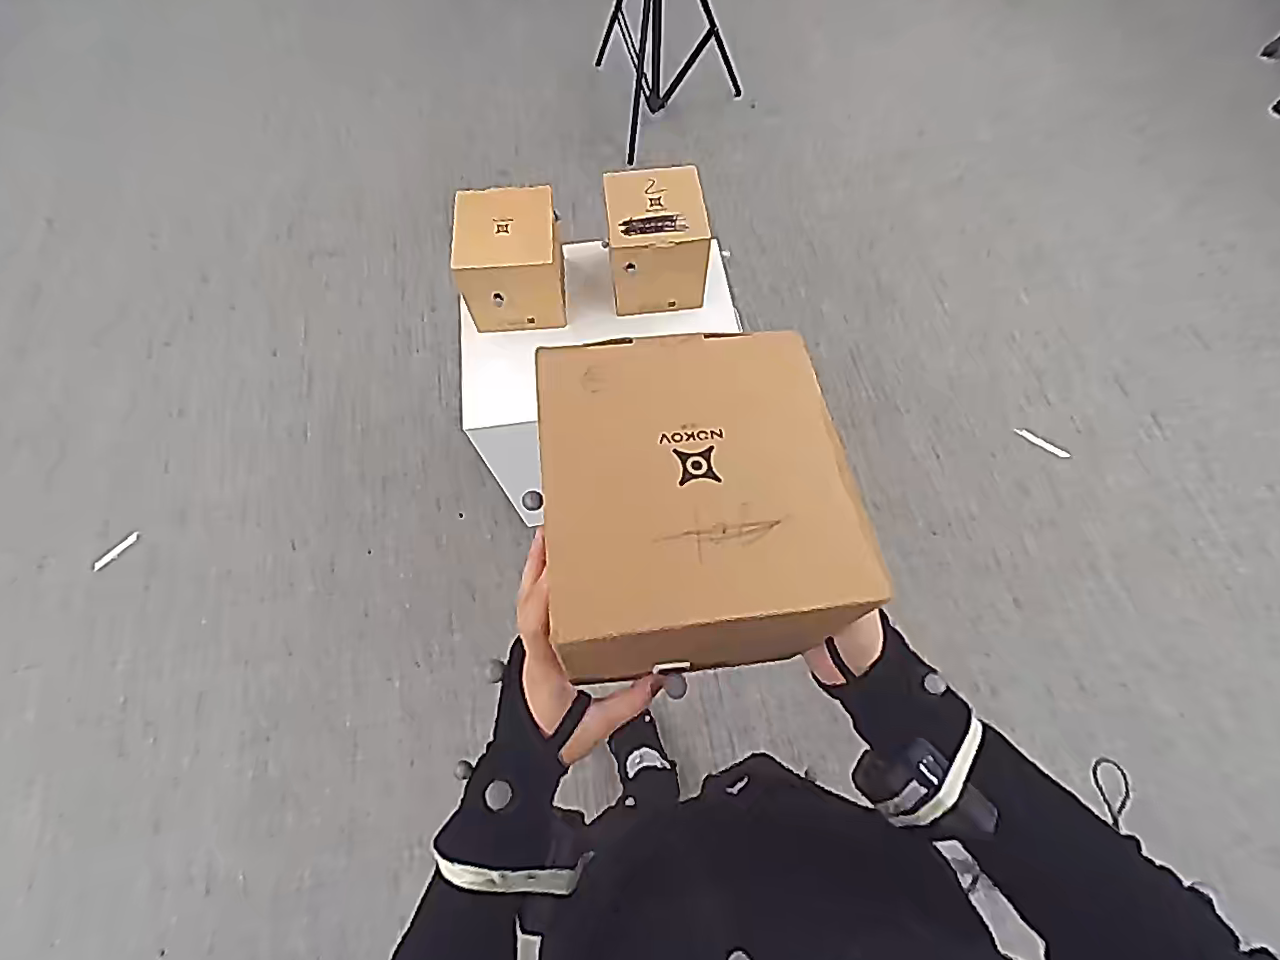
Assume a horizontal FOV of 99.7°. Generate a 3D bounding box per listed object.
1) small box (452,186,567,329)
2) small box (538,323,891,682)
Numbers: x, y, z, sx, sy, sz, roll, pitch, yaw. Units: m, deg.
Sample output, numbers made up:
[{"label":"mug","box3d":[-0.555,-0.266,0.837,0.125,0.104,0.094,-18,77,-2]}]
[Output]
[{"label":"small box","box3d":[-0.223,-0.386,0.965,0.168,0.176,0.179,-4,67,-2]},{"label":"small box","box3d":[0.025,0.023,0.359,0.168,0.176,0.179,-6,63,-6]}]
